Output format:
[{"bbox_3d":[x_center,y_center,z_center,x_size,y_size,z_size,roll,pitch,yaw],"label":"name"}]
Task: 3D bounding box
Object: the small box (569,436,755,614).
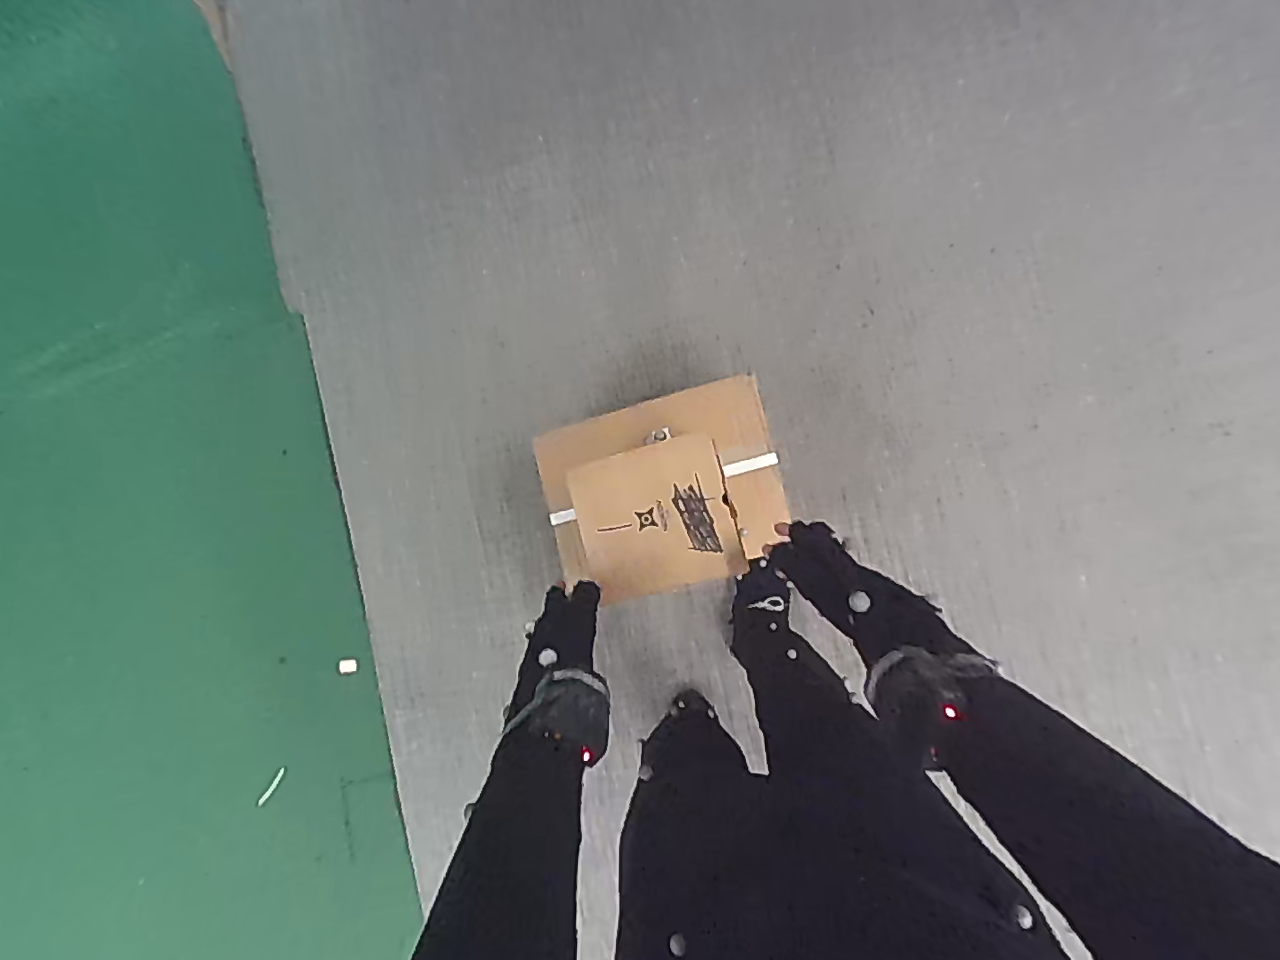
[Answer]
[{"bbox_3d":[0.032,0.051,0.685,0.179,0.176,0.168,-18,87,7],"label":"small box"}]
